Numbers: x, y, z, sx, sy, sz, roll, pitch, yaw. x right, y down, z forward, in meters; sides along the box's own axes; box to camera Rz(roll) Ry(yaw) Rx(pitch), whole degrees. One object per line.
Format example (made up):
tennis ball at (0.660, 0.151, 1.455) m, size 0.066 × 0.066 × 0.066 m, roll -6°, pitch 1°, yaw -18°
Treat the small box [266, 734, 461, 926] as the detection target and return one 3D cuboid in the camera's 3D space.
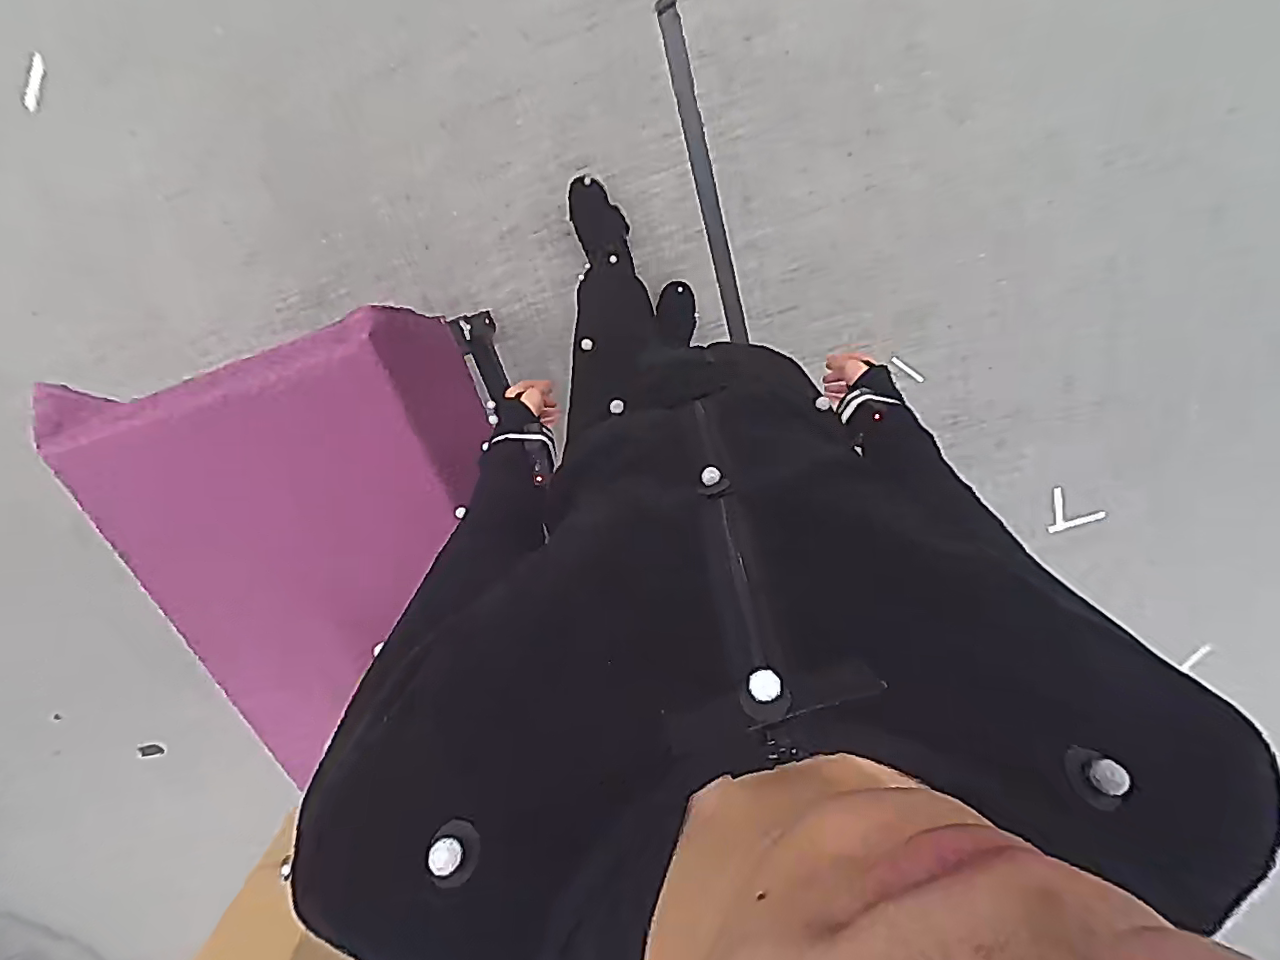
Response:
small box at (-0.412, 0.534, 0.840) m, size 0.179 × 0.176 × 0.168 m, roll -22°, pitch 111°, yaw 8°
